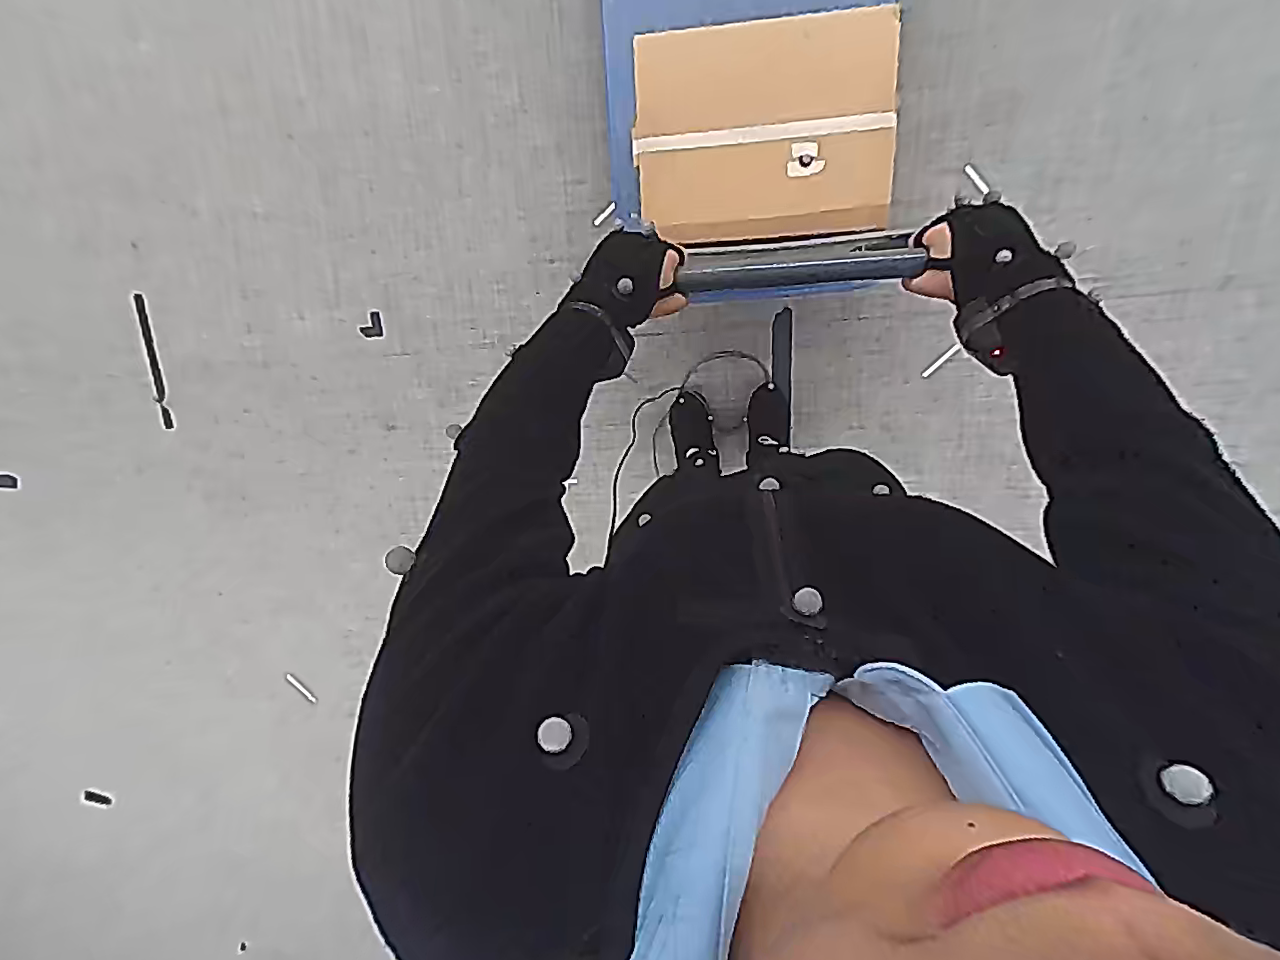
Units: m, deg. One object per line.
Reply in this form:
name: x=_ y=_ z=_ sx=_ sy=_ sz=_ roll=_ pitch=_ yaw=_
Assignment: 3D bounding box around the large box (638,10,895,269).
large box: x=0.216 y=-0.598 z=1.027 sx=0.408 sy=0.320 sz=0.320 roll=-2 pitch=105 yaw=6
